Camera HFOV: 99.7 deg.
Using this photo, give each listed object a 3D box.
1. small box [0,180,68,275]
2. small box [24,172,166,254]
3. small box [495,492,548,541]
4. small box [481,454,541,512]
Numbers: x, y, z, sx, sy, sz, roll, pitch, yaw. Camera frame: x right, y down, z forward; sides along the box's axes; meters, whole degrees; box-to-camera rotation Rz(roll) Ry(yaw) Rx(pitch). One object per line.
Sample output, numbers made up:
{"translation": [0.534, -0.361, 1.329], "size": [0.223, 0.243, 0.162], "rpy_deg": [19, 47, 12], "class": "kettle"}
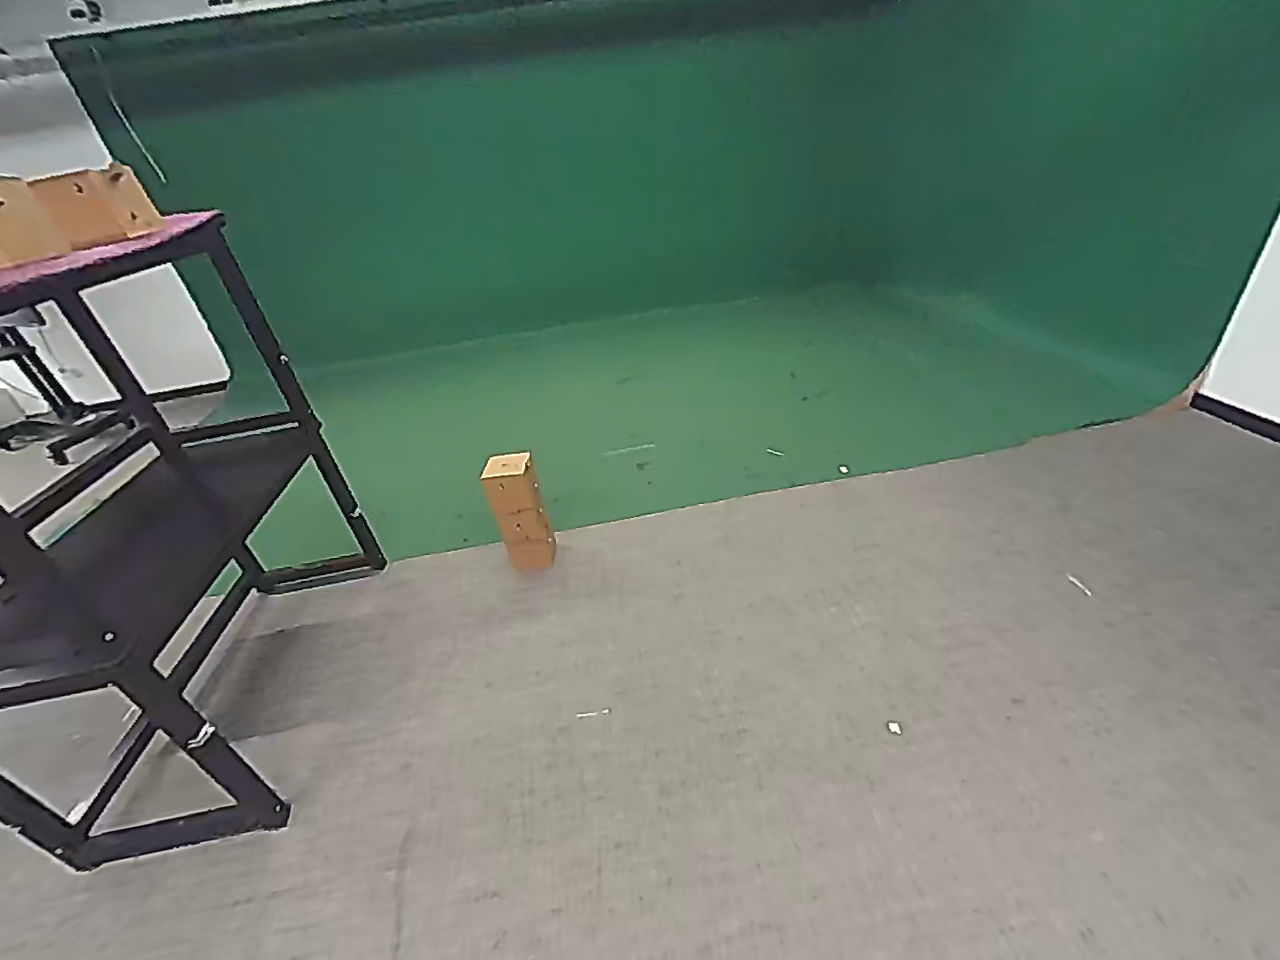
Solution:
{"translation": [-1.440, -0.542, 1.182], "size": [0.168, 0.176, 0.179], "rpy_deg": [-12, 32, -1], "class": "small box"}
{"translation": [-1.482, -0.732, 1.485], "size": [0.179, 0.176, 0.168], "rpy_deg": [-11, 34, 1], "class": "small box"}
{"translation": [-0.494, 0.146, 2.288], "size": [0.168, 0.176, 0.179], "rpy_deg": [-8, 33, 4], "class": "small box"}
{"translation": [-0.516, 0.014, 2.187], "size": [0.179, 0.176, 0.168], "rpy_deg": [-6, 33, 6], "class": "small box"}
